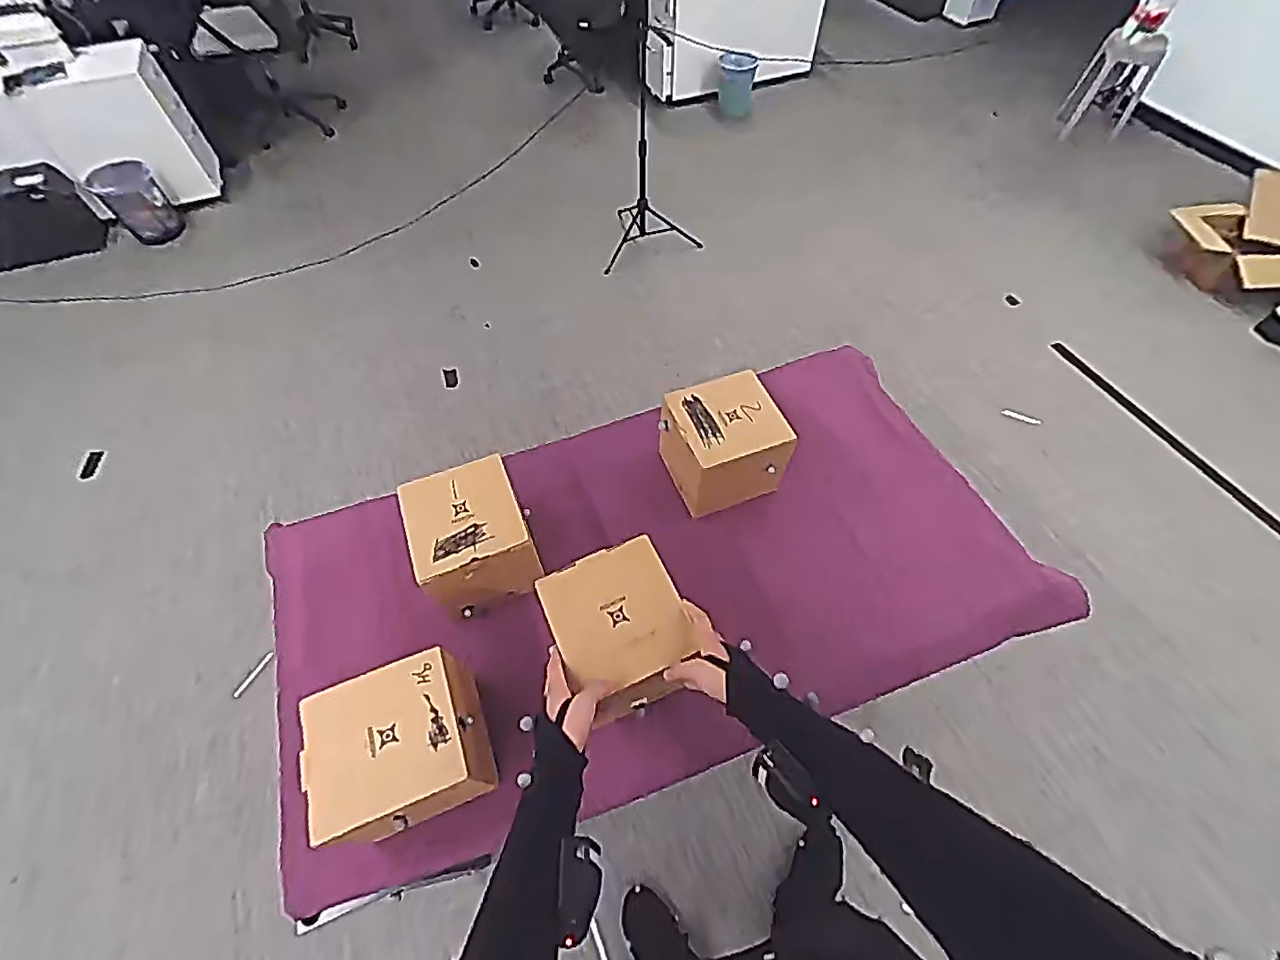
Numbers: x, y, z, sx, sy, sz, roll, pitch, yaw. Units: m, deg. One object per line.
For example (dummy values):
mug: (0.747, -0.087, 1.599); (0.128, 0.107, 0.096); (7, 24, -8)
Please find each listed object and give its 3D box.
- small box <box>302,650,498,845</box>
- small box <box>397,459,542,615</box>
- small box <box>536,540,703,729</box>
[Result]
small box: (-0.307, 0.354, 0.711); (0.179, 0.176, 0.168); (-20, 59, -11)
small box: (-0.269, 0.101, 0.878); (0.168, 0.176, 0.179); (-20, 59, -12)
small box: (-0.030, 0.218, 0.752); (0.168, 0.176, 0.179); (-22, 60, -12)
